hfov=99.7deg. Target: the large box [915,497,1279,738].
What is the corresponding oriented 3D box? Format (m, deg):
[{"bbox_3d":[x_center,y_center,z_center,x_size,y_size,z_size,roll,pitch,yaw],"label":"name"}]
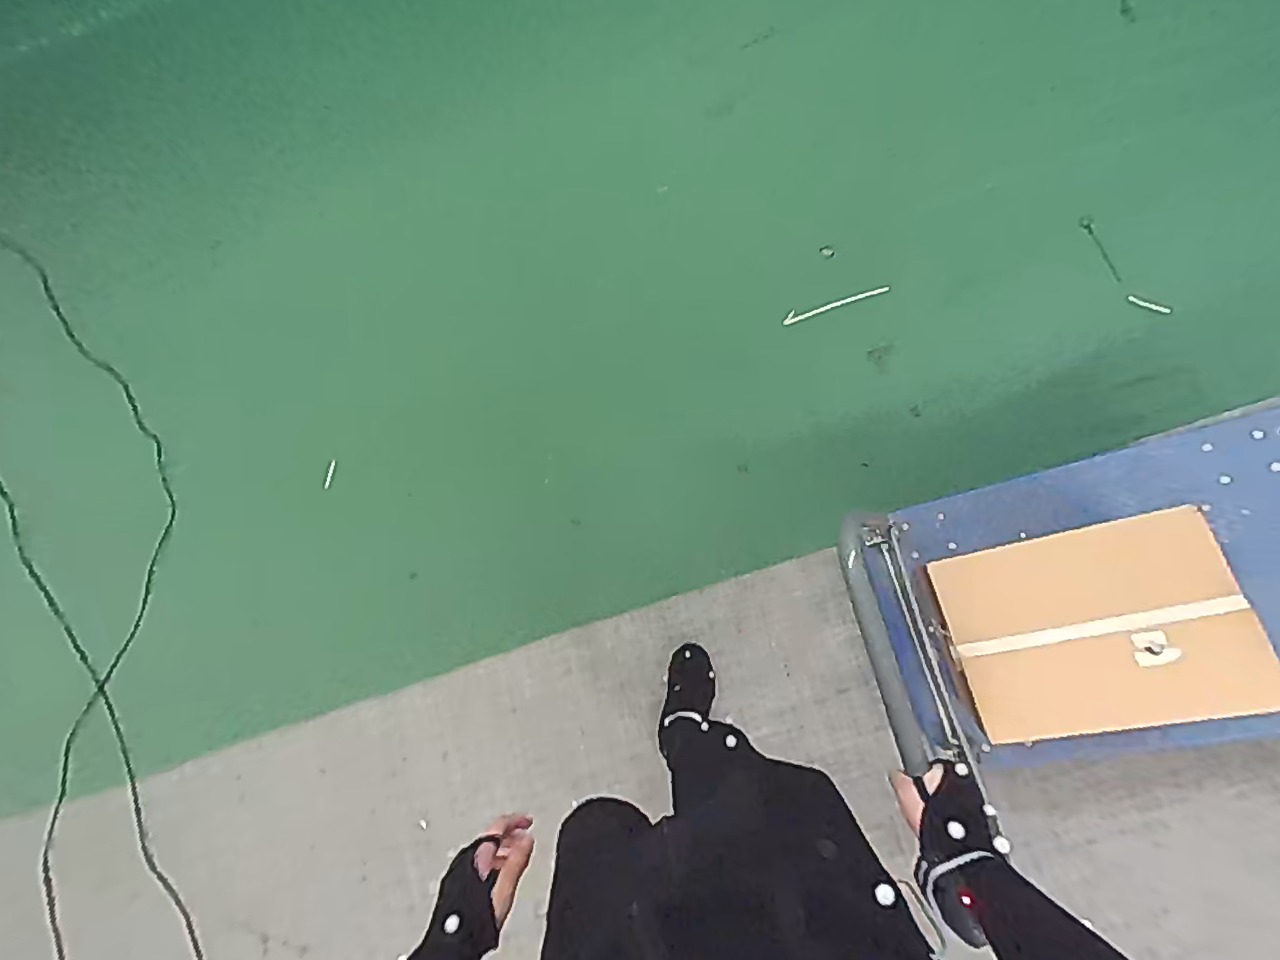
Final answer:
[{"bbox_3d":[0.791,0.257,1.017,0.408,0.320,0.320,-18,74,19],"label":"large box"}]
